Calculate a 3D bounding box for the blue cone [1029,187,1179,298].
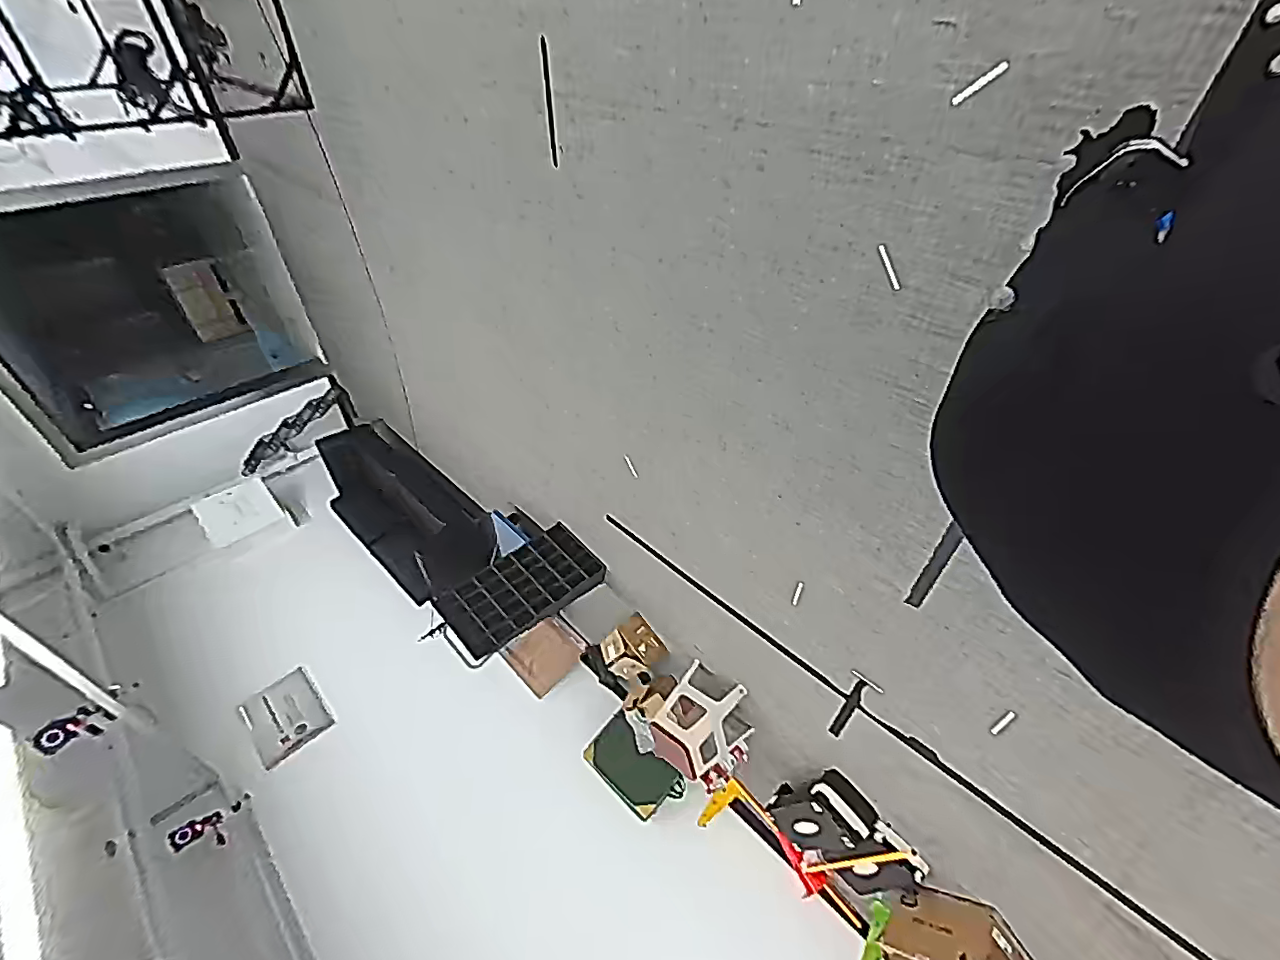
[{"bbox_3d":[0.806,-0.400,0.988,0.192,0.380,0.193,32,140,35],"label":"blue cone"}]
